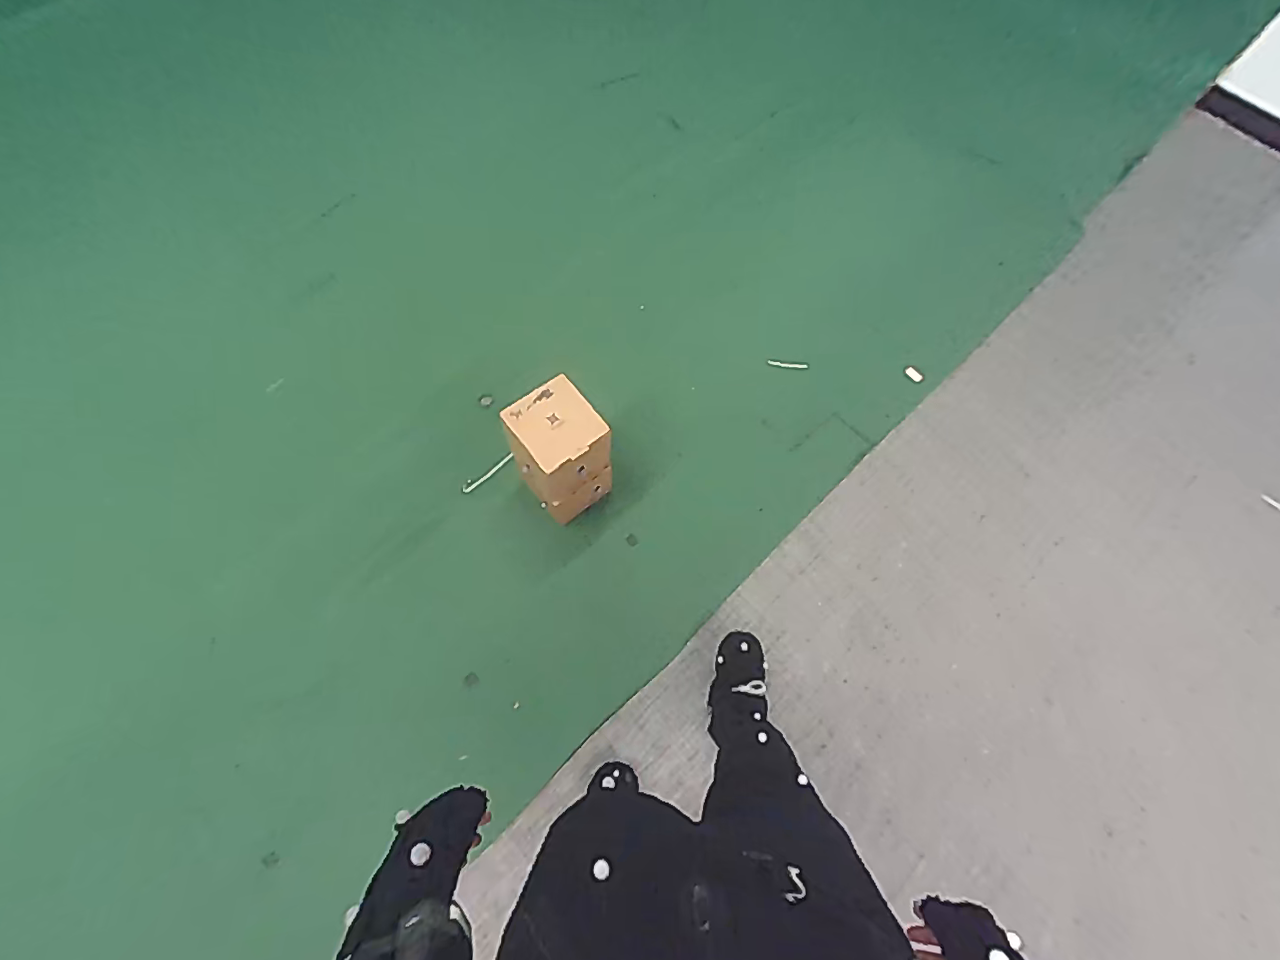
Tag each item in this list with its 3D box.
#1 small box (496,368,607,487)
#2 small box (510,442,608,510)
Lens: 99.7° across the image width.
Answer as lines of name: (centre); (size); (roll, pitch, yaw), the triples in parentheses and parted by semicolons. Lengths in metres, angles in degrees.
small box: (-0.188, -0.104, 1.189); (0.168, 0.176, 0.179); (-36, 77, -16)
small box: (-0.193, -0.044, 1.321); (0.168, 0.176, 0.179); (-35, 75, -17)
